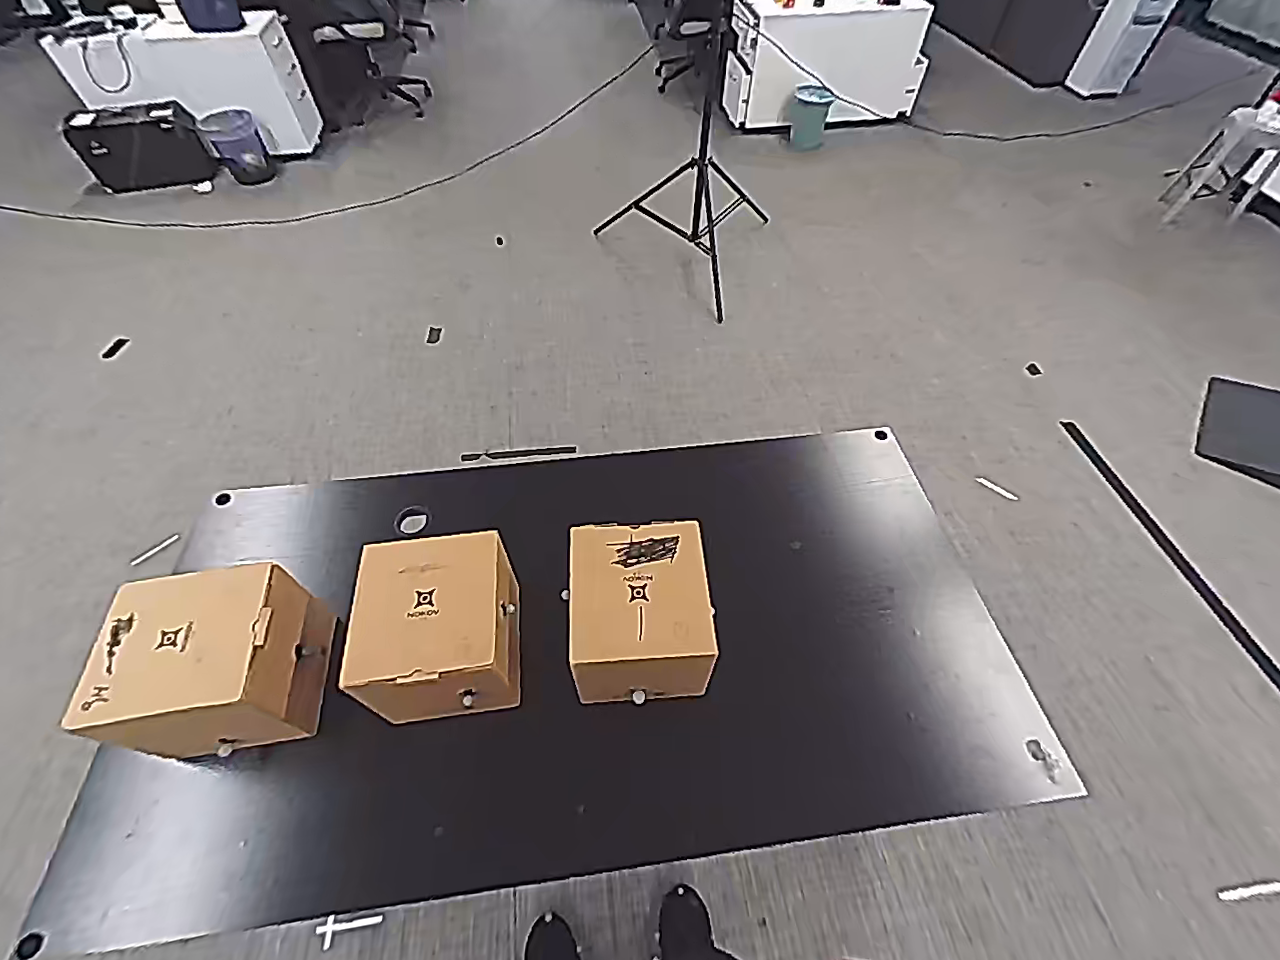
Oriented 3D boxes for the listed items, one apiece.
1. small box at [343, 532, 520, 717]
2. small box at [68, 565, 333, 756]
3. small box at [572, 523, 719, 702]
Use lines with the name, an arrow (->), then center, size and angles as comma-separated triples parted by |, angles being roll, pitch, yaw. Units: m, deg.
small box -> -0.249, 0.191, 0.694 | 0.168, 0.176, 0.179 | -6, 53, -6
small box -> -0.507, 0.224, 0.663 | 0.179, 0.176, 0.168 | -7, 53, -8
small box -> 0.000, 0.175, 0.706 | 0.168, 0.176, 0.179 | -2, 54, -3
